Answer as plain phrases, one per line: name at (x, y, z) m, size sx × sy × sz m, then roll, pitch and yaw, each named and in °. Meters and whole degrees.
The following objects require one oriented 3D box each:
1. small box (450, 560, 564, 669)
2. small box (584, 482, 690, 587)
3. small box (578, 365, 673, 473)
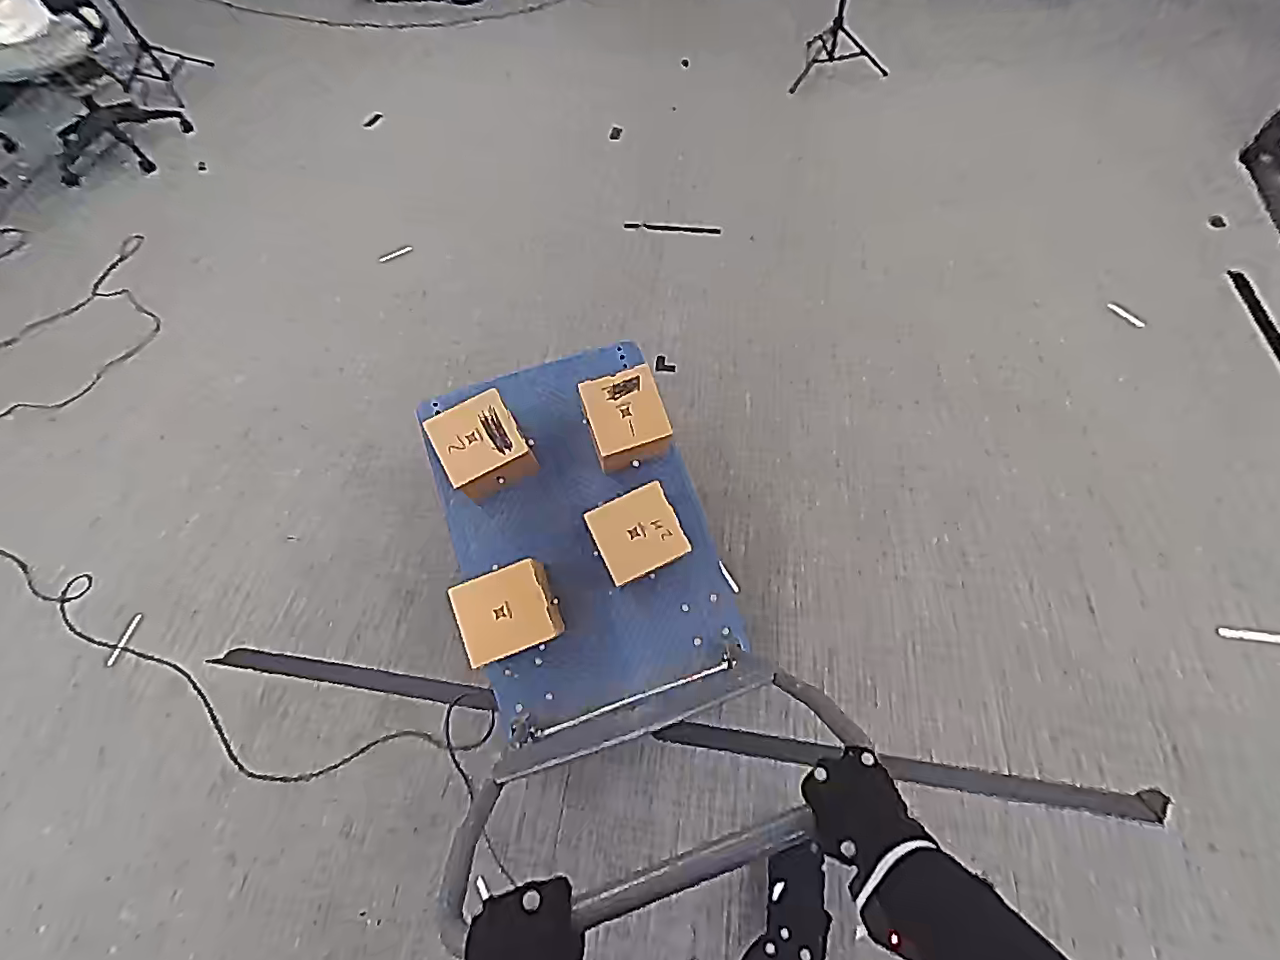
small box at (-0.273, 0.284, 1.148) m, size 0.179 × 0.176 × 0.168 m, roll -21°, pitch 79°, yaw -8°
small box at (-0.007, 0.127, 1.191) m, size 0.179 × 0.176 × 0.168 m, roll -25°, pitch 79°, yaw -7°
small box at (-0.036, -0.134, 1.249) m, size 0.168 × 0.176 × 0.179 m, roll -19°, pitch 79°, yaw -5°
